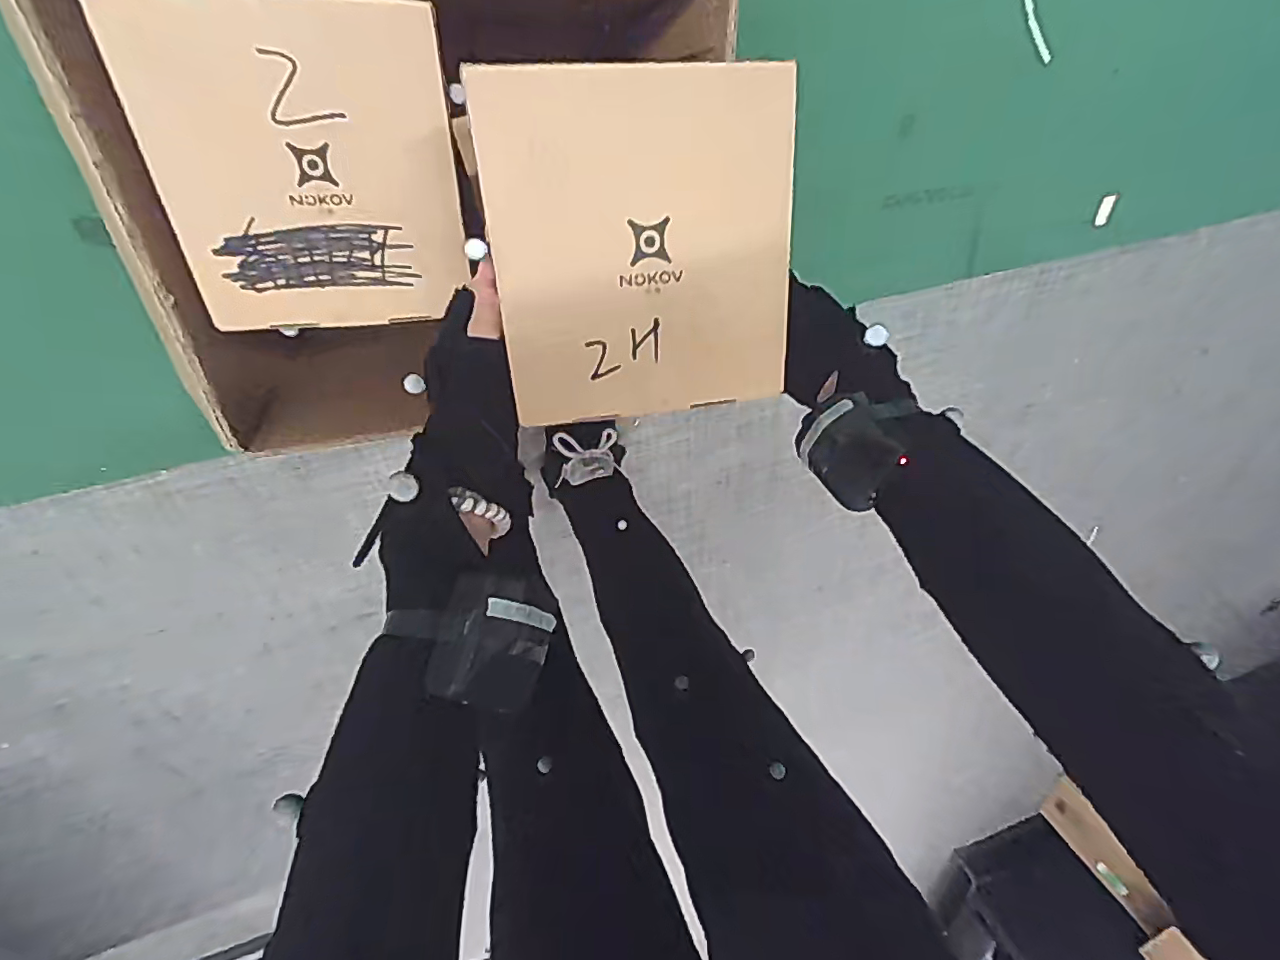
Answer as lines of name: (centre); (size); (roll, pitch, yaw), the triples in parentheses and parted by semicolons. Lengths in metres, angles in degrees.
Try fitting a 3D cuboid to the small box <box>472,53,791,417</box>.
small box: (-0.014, -0.156, 0.367); (0.168, 0.176, 0.179); (-8, 114, -10)
